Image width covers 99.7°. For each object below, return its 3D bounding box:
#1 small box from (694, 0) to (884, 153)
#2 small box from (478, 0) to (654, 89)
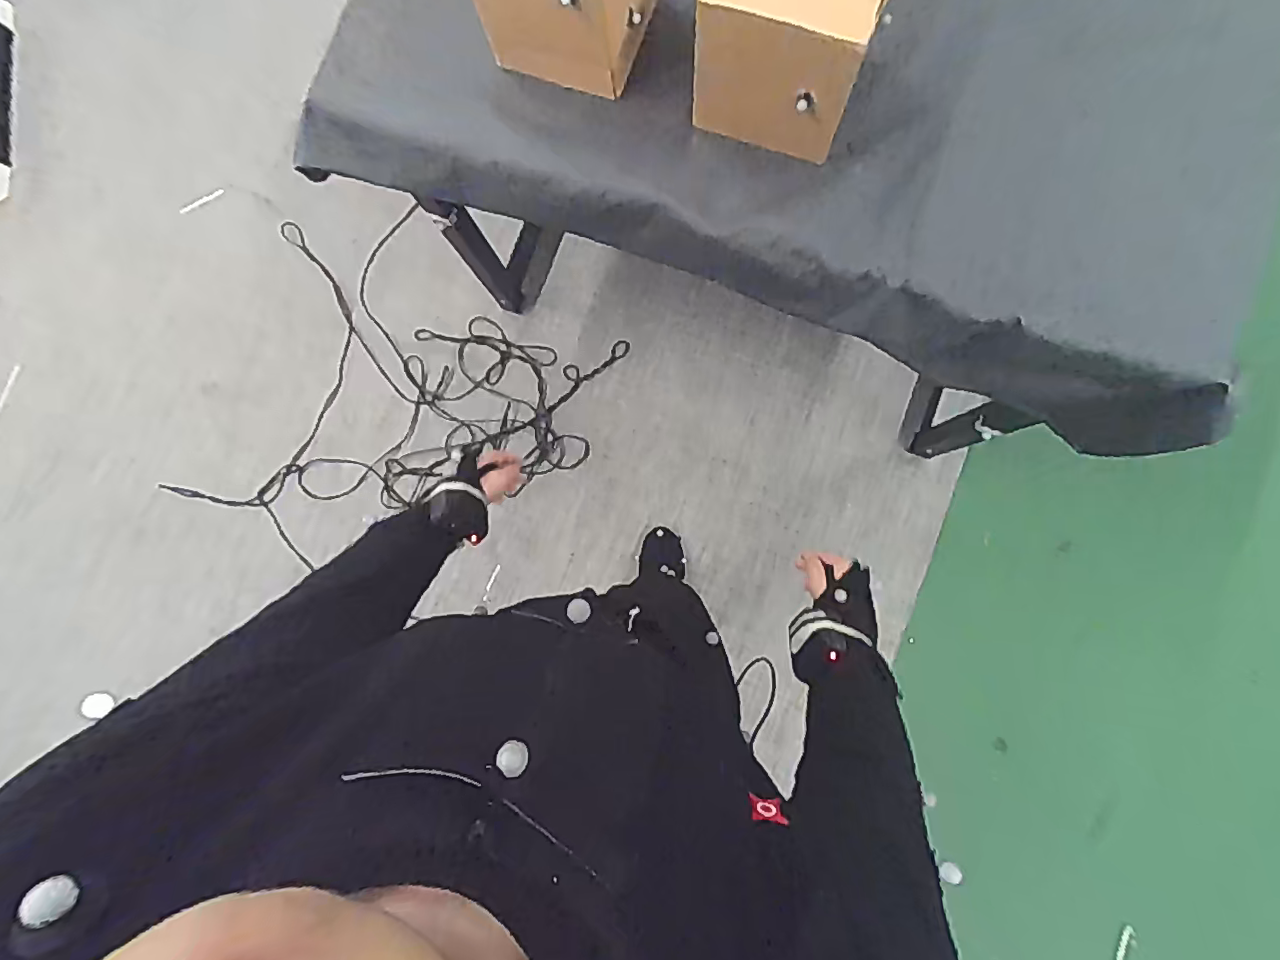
[{"bbox_3d":[0.170,-0.511,0.609,0.179,0.176,0.168,20,85,7],"label":"small box"},{"bbox_3d":[-0.091,-0.612,0.640,0.179,0.176,0.168,19,86,6],"label":"small box"}]
